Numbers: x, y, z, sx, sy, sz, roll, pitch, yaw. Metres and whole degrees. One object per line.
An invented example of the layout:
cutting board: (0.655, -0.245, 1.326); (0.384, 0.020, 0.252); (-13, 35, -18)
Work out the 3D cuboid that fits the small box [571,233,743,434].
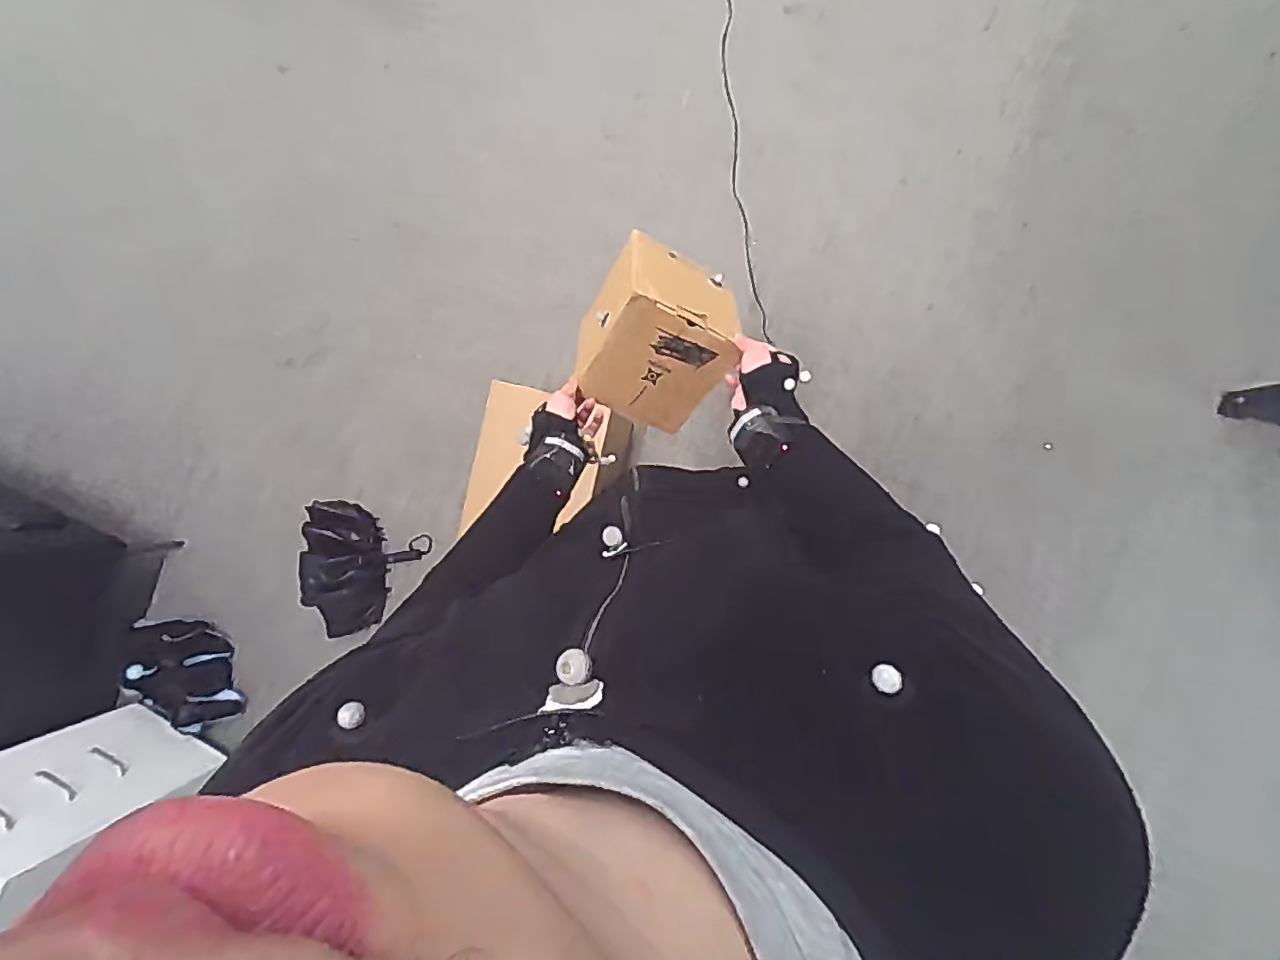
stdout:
small box: (0.016, -0.201, 0.744); (0.168, 0.176, 0.179); (20, 135, -20)
